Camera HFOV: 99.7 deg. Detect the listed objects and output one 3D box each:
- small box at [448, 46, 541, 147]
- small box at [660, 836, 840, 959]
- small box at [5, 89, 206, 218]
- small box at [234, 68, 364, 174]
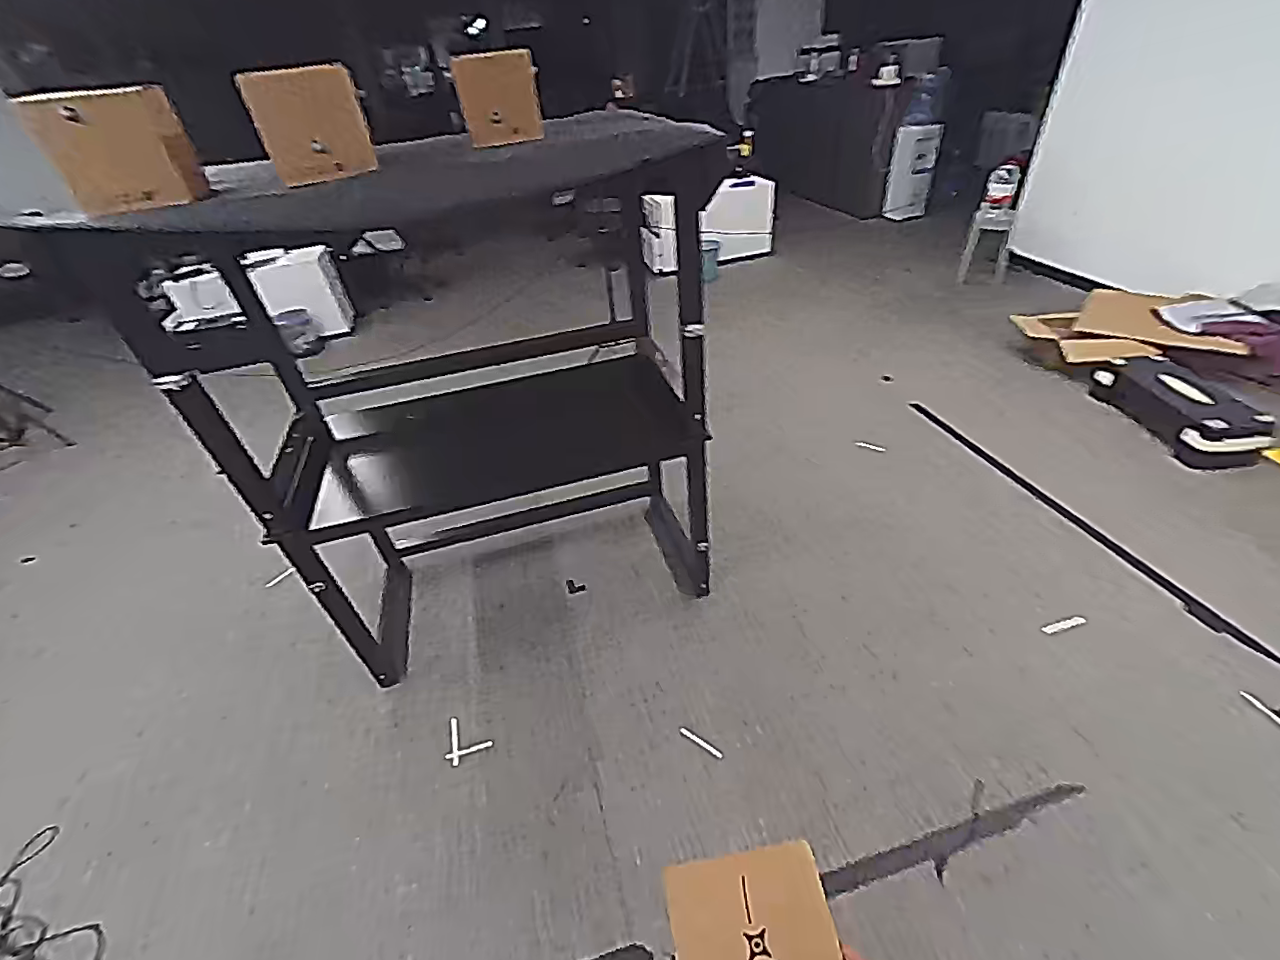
[{"bbox_3d":[-0.331,-0.874,1.234,0.168,0.176,0.179,-14,40,-8],"label":"small box"},{"bbox_3d":[0.121,0.521,0.603,0.168,0.176,0.179,-10,51,-4],"label":"small box"},{"bbox_3d":[-0.902,-0.567,0.939,0.168,0.176,0.179,-19,41,-15],"label":"small box"},{"bbox_3d":[-0.719,-0.771,1.166,0.168,0.176,0.179,-12,40,-8],"label":"small box"}]
